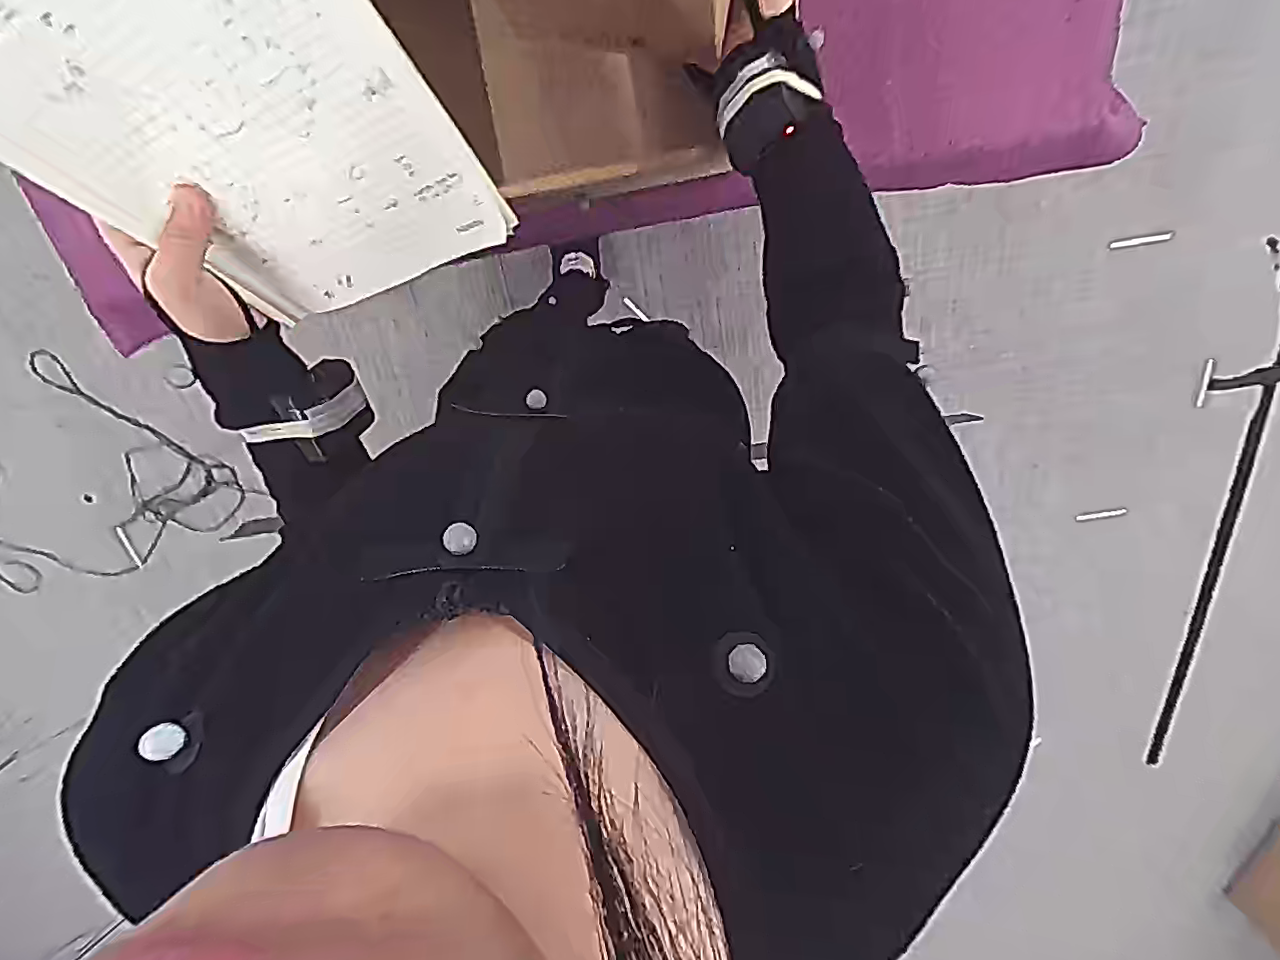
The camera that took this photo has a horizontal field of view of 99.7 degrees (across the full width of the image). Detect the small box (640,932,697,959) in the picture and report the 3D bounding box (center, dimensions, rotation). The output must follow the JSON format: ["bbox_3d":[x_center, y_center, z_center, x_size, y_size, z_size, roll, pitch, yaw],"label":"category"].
[{"bbox_3d":[0.092,1.488,1.611,0.168,0.176,0.179,-6,112,0],"label":"small box"}]

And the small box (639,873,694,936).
[{"bbox_3d":[0.084,1.415,1.758,0.168,0.176,0.179,-4,114,-1],"label":"small box"}]
